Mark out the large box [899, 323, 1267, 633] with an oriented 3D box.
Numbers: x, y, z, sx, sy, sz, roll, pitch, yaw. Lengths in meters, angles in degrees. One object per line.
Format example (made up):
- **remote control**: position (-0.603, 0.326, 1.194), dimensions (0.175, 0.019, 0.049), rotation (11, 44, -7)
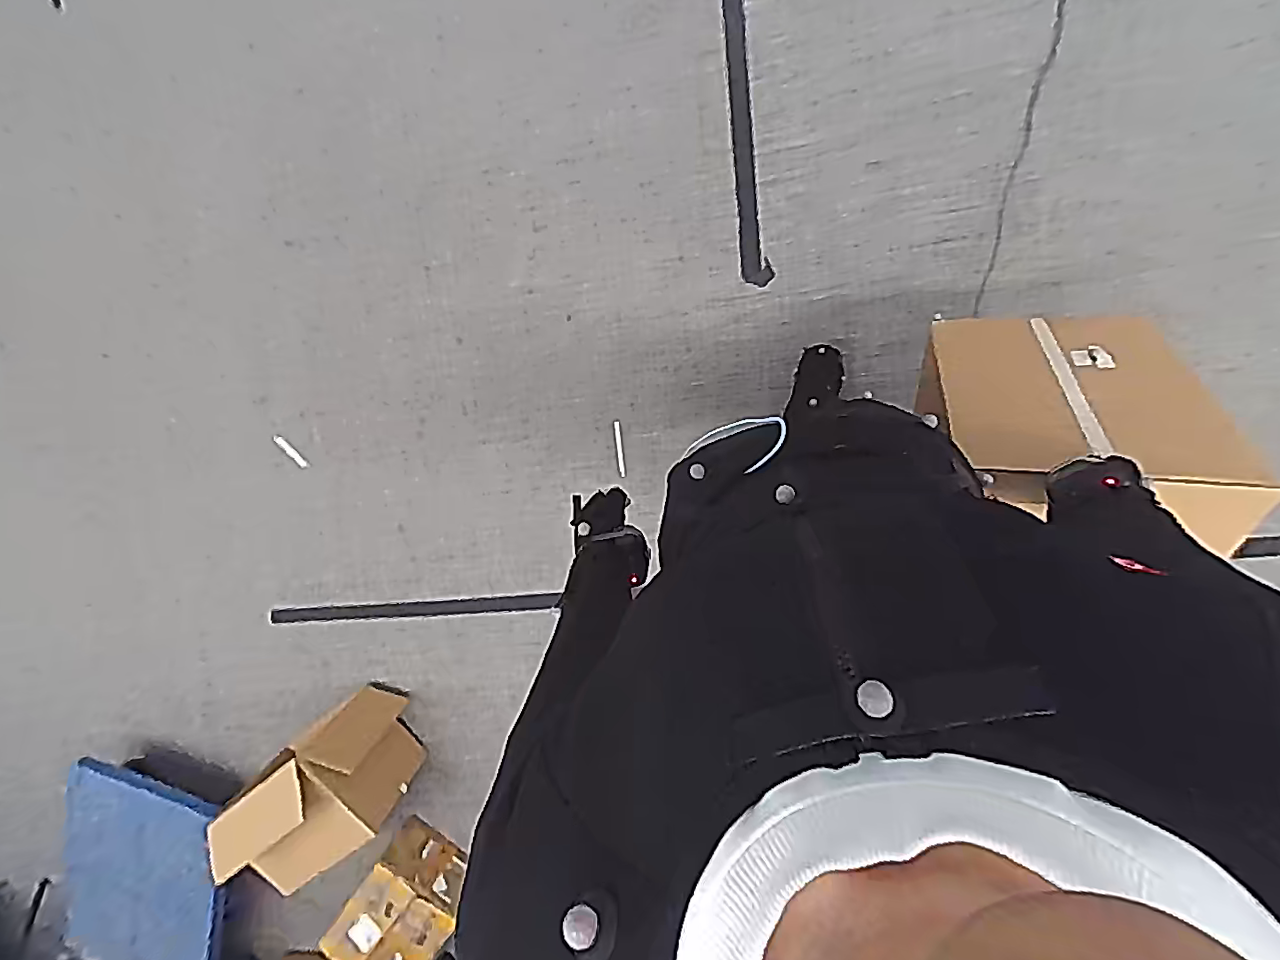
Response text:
- **large box**: position (0.622, -0.019, 0.874), dimensions (0.320, 0.408, 0.320), rotation (5, 132, 16)
